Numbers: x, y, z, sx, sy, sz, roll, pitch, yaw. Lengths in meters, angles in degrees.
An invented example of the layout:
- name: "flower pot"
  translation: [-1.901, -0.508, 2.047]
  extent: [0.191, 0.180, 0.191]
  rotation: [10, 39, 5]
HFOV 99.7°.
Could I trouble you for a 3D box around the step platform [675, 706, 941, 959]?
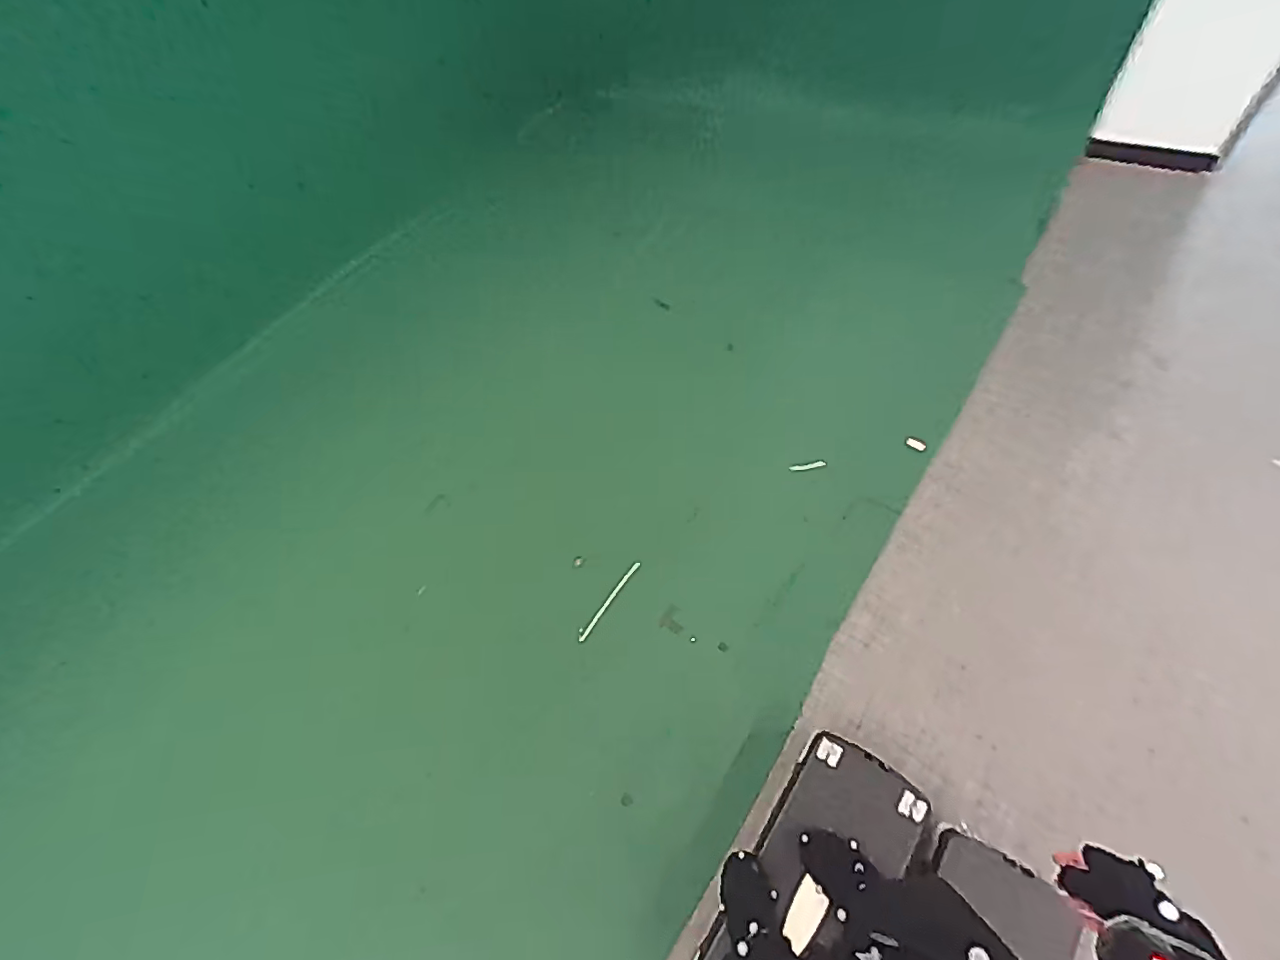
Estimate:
- name: "step platform"
  translation: [0.308, 0.816, 1.058]
  extent: [0.286, 0.204, 0.684]
  rotation: [28, 69, 24]
